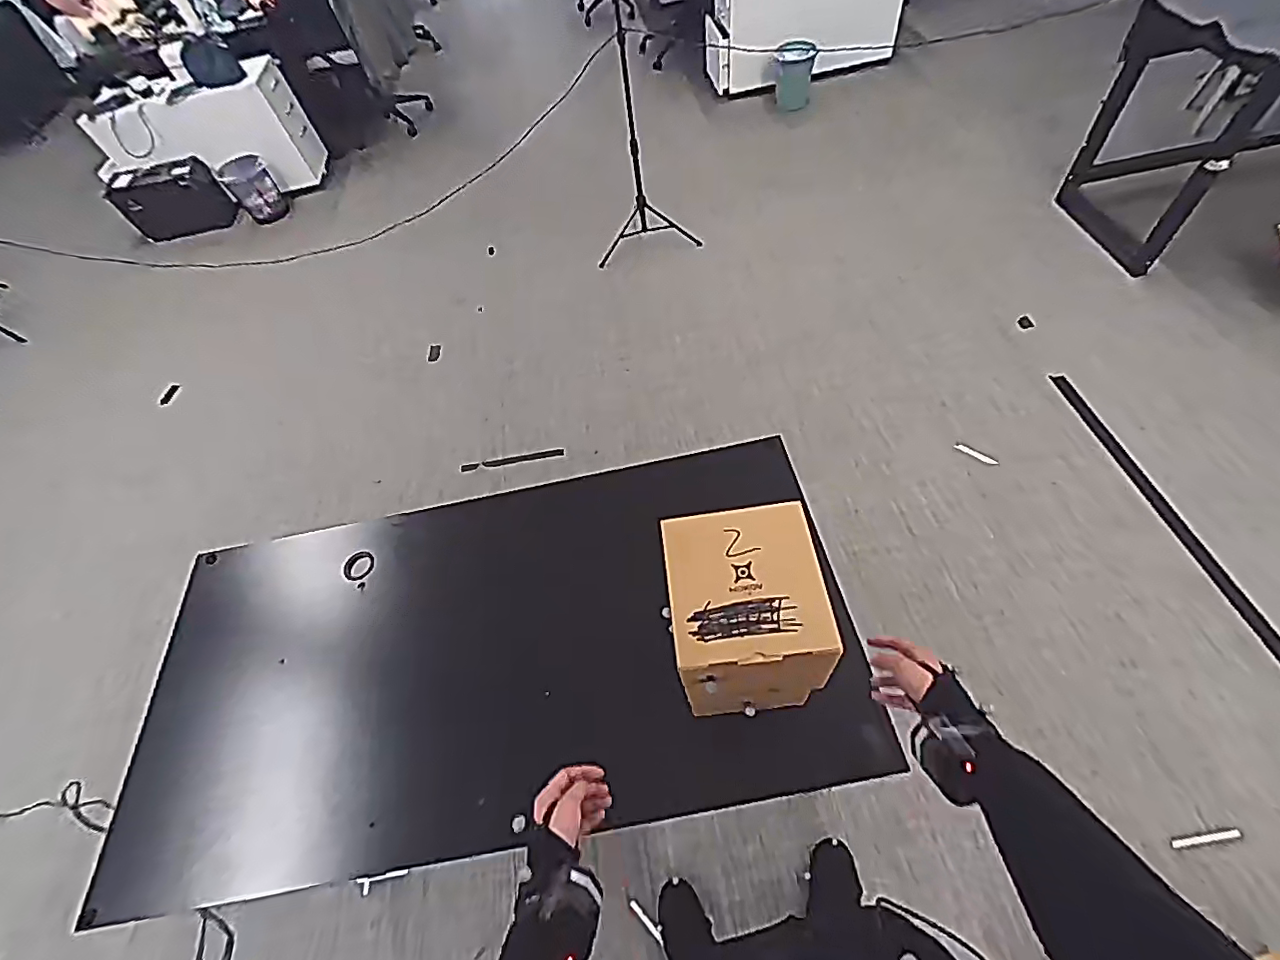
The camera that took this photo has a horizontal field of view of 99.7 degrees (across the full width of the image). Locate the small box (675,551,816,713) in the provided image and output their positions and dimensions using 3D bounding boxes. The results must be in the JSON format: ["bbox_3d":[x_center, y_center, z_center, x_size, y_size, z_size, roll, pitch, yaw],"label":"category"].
[{"bbox_3d":[0.144,0.225,0.785,0.168,0.176,0.179,-8,56,5],"label":"small box"}]
